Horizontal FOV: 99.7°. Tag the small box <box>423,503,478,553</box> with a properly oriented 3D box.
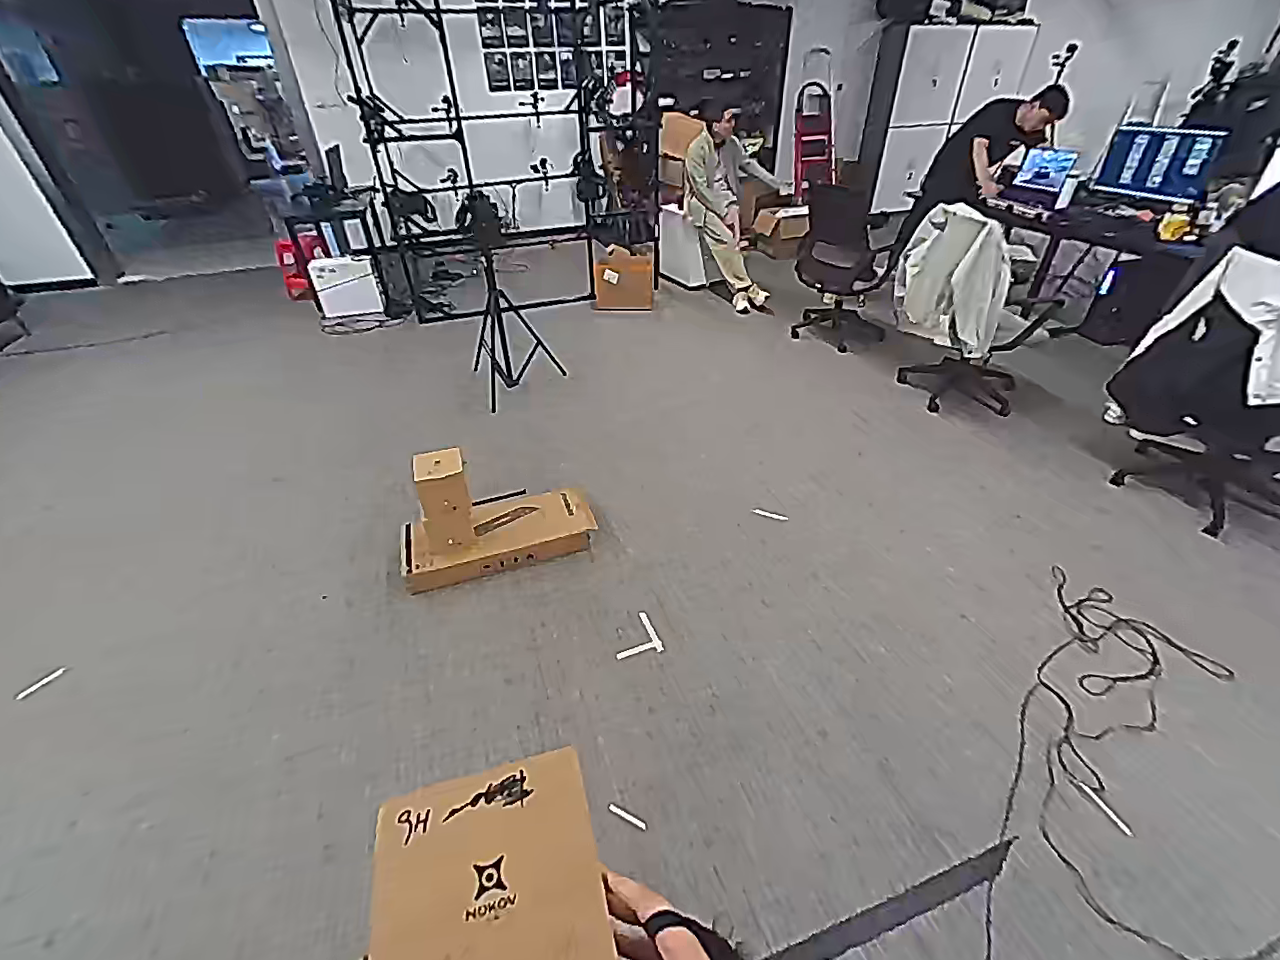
[{"bbox_3d":[-0.727,0.152,2.070,0.168,0.176,0.179,-14,39,-16],"label":"small box"}]

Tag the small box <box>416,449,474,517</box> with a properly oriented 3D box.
[{"bbox_3d":[-0.716,0.011,1.982,0.168,0.176,0.179,-13,38,-15],"label":"small box"}]
